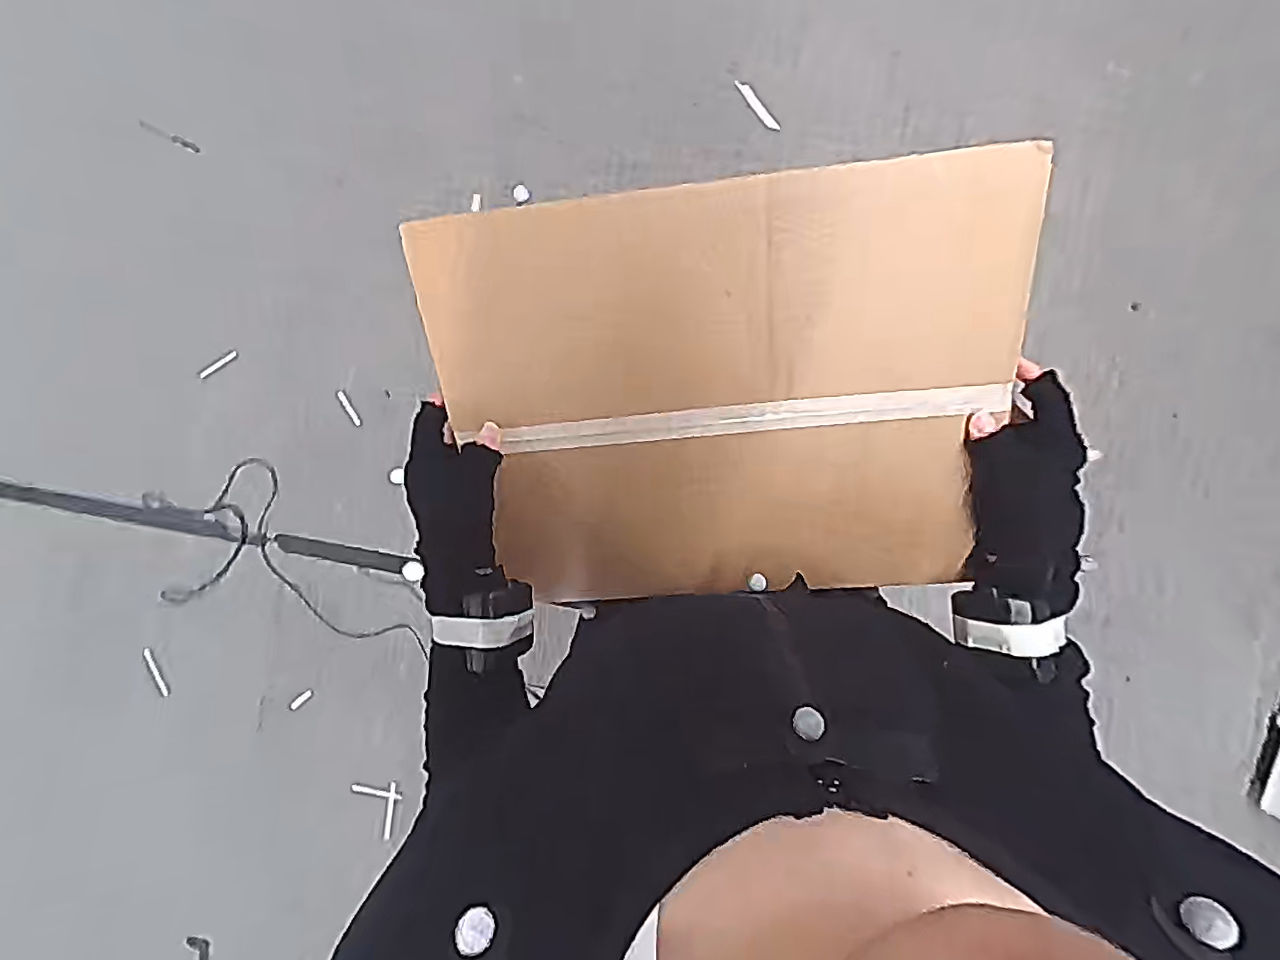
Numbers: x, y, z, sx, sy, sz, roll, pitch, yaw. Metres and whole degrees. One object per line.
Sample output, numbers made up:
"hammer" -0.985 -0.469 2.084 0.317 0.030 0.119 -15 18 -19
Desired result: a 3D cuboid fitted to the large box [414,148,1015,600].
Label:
"large box" 0.063 -0.108 0.549 0.408 0.320 0.320 -5 115 6
